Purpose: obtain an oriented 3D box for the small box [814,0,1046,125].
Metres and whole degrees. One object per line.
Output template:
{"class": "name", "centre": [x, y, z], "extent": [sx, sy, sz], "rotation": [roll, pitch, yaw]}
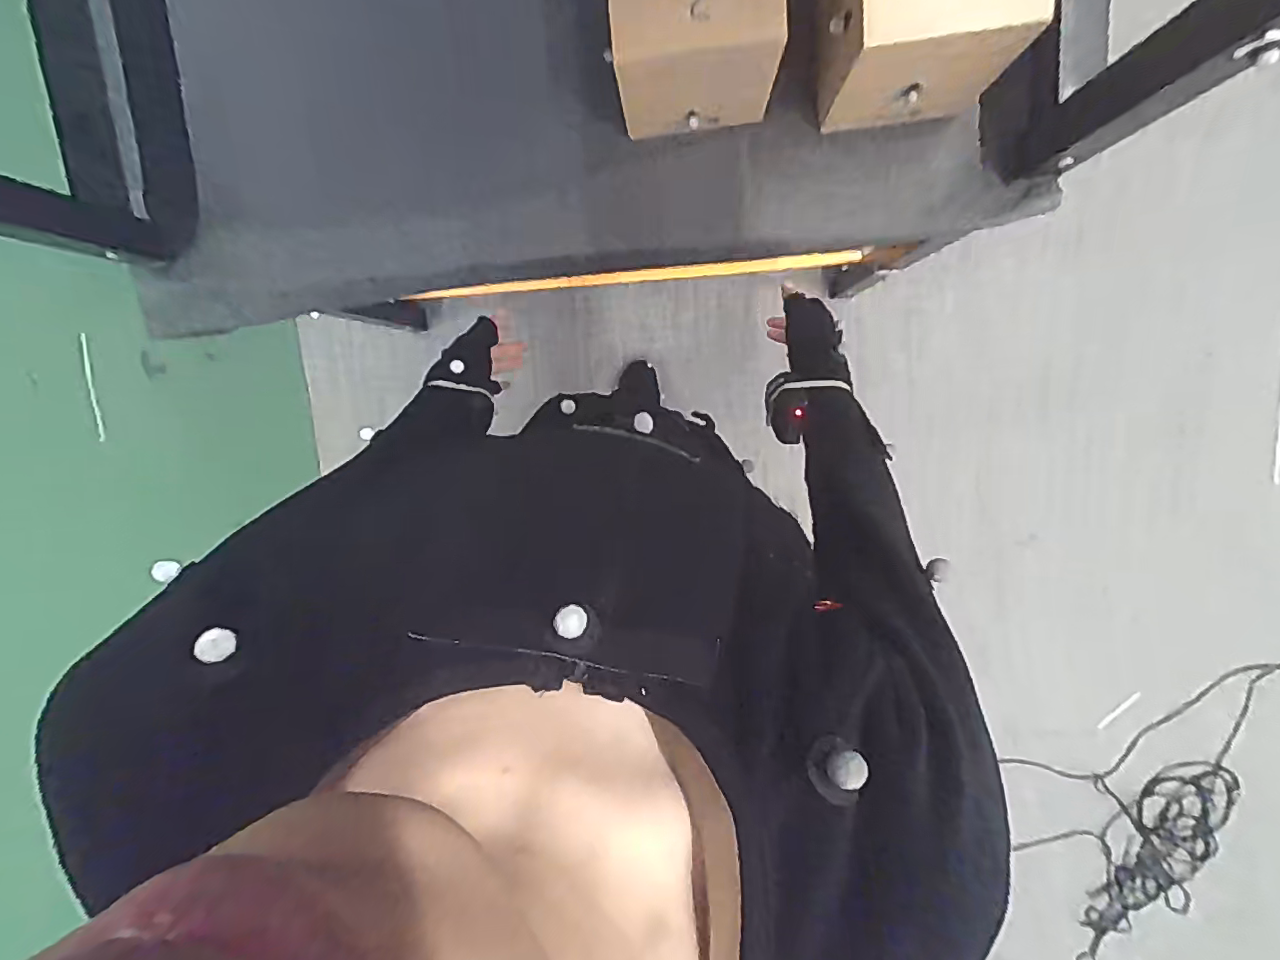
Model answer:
{"class": "small box", "centre": [0.284, -0.499, 0.560], "extent": [0.168, 0.176, 0.179], "rotation": [-5, 98, 5]}
